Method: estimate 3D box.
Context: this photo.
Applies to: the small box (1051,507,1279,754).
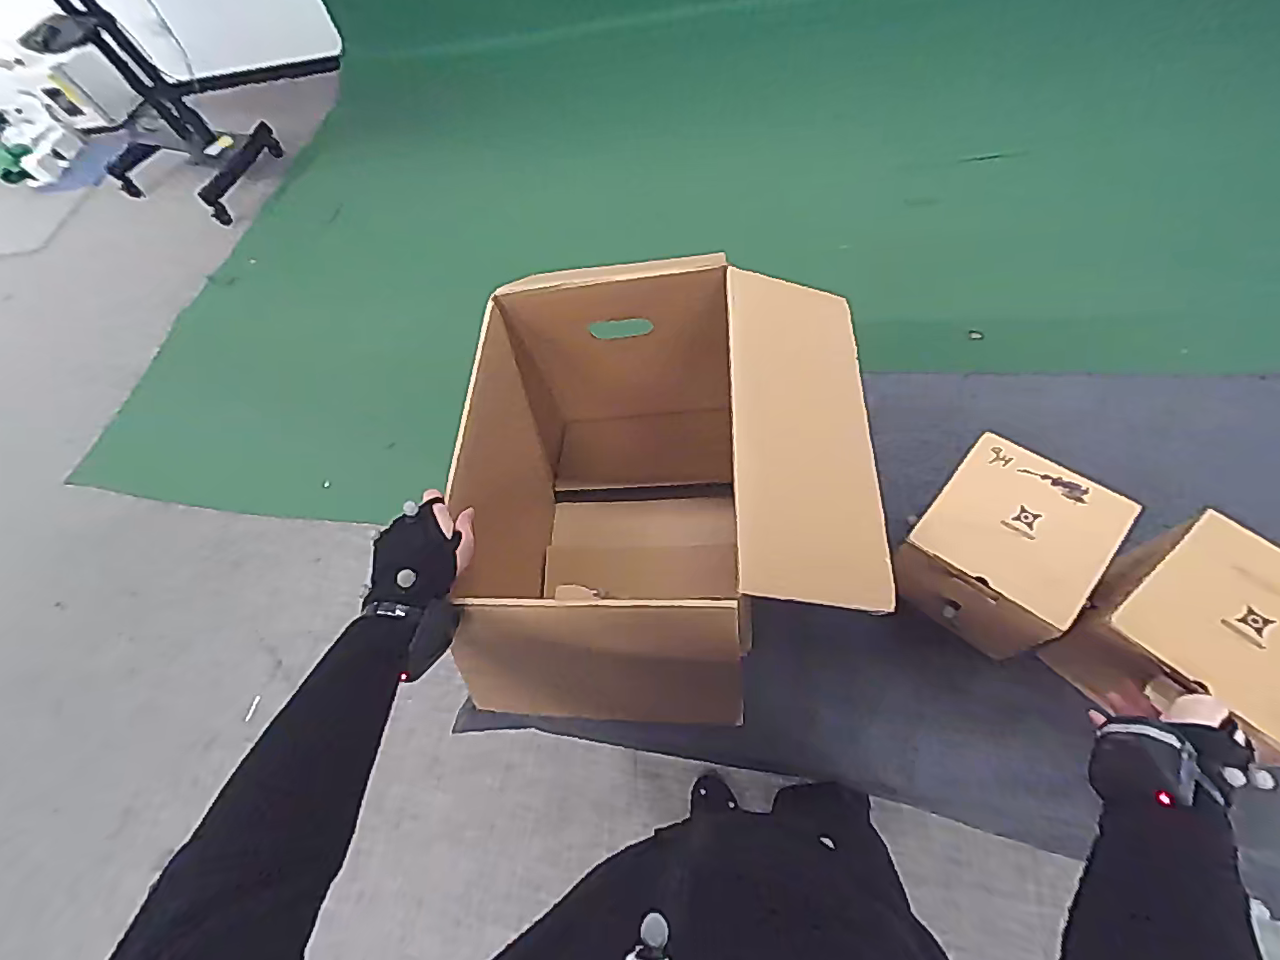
[{"bbox_3d":[0.588,0.168,0.575,0.179,0.176,0.168,-41,62,-10],"label":"small box"}]
